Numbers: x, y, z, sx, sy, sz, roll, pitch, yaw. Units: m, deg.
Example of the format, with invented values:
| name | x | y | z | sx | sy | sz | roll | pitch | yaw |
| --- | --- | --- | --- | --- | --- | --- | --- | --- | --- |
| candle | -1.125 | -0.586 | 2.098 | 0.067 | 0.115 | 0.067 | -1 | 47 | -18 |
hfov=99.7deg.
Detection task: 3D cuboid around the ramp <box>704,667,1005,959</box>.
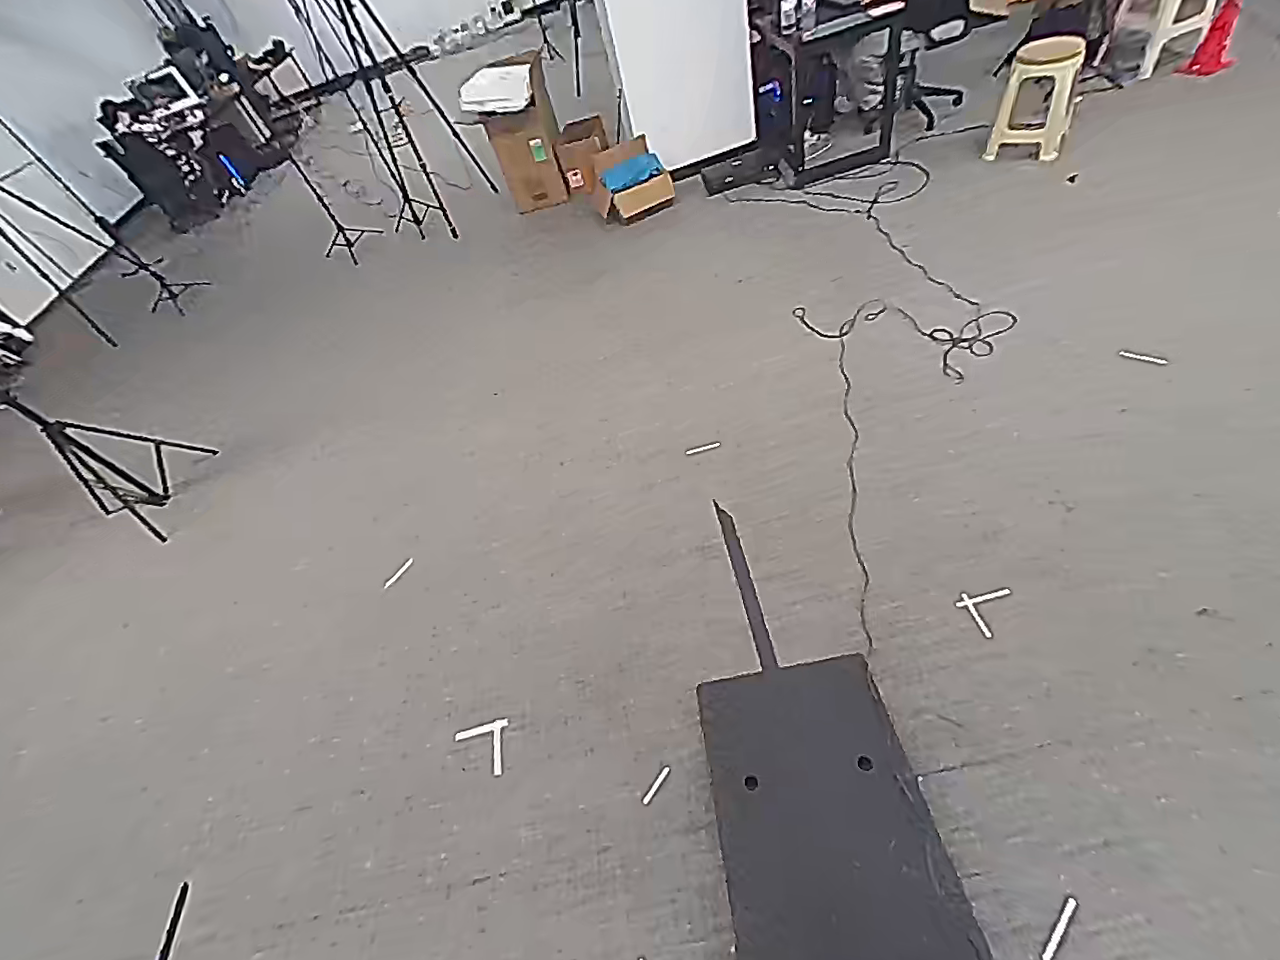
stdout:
| name | x | y | z | sx | sy | sz | roll | pitch | yaw |
| --- | --- | --- | --- | --- | --- | --- | --- | --- | --- |
| ramp | 0.457 | 0.901 | 1.180 | 0.509 | 0.206 | 0.991 | -18 | 46 | 6 |
